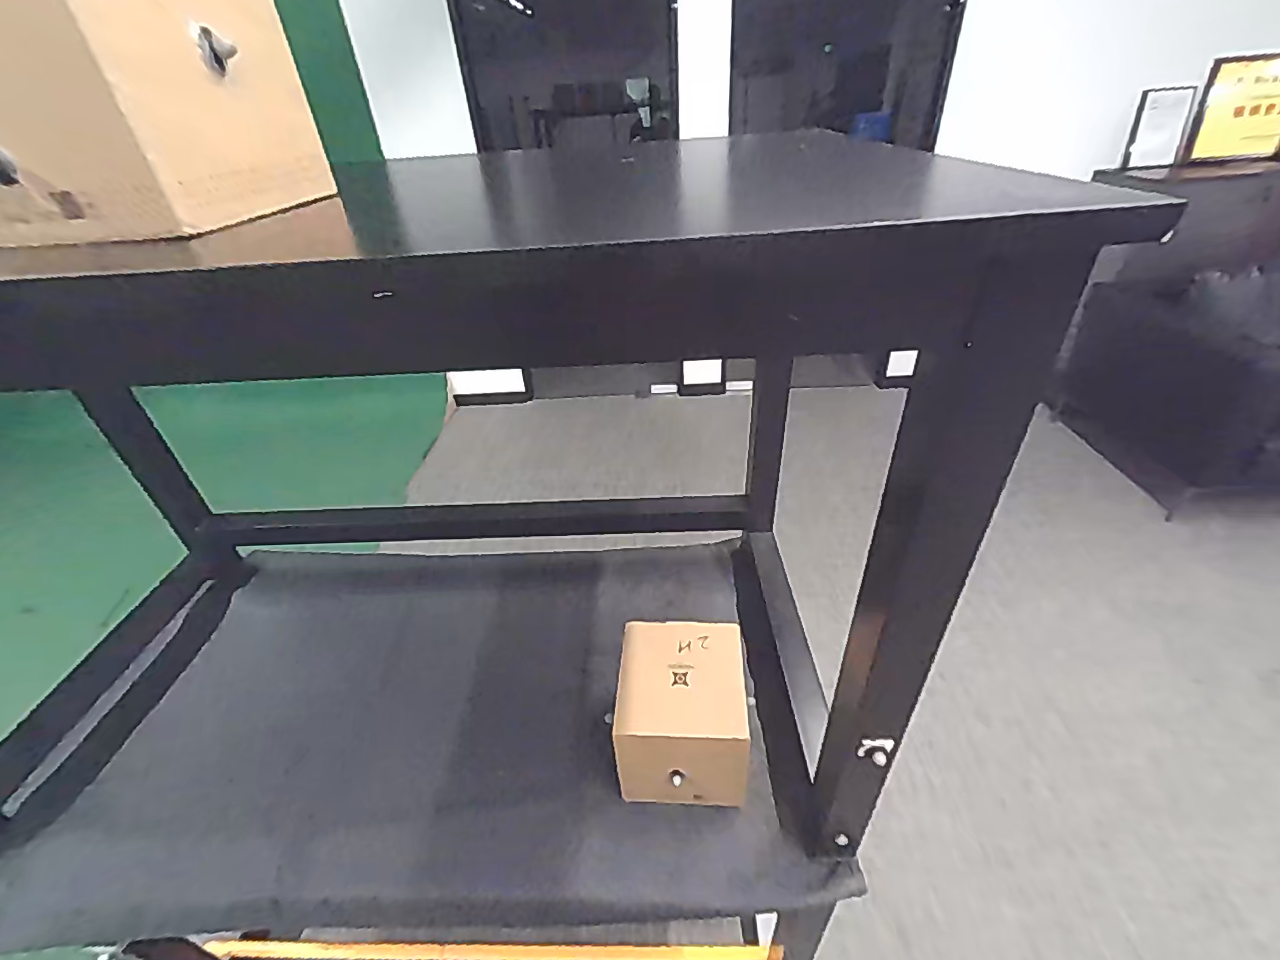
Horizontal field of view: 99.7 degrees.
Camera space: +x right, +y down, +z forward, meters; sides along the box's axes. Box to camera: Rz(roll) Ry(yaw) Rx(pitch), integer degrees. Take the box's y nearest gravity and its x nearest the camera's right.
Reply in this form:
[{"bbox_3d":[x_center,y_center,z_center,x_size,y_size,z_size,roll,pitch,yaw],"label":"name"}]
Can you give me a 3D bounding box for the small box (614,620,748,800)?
[{"bbox_3d":[0.061,0.322,0.759,0.168,0.176,0.179,0,35,5],"label":"small box"}]
